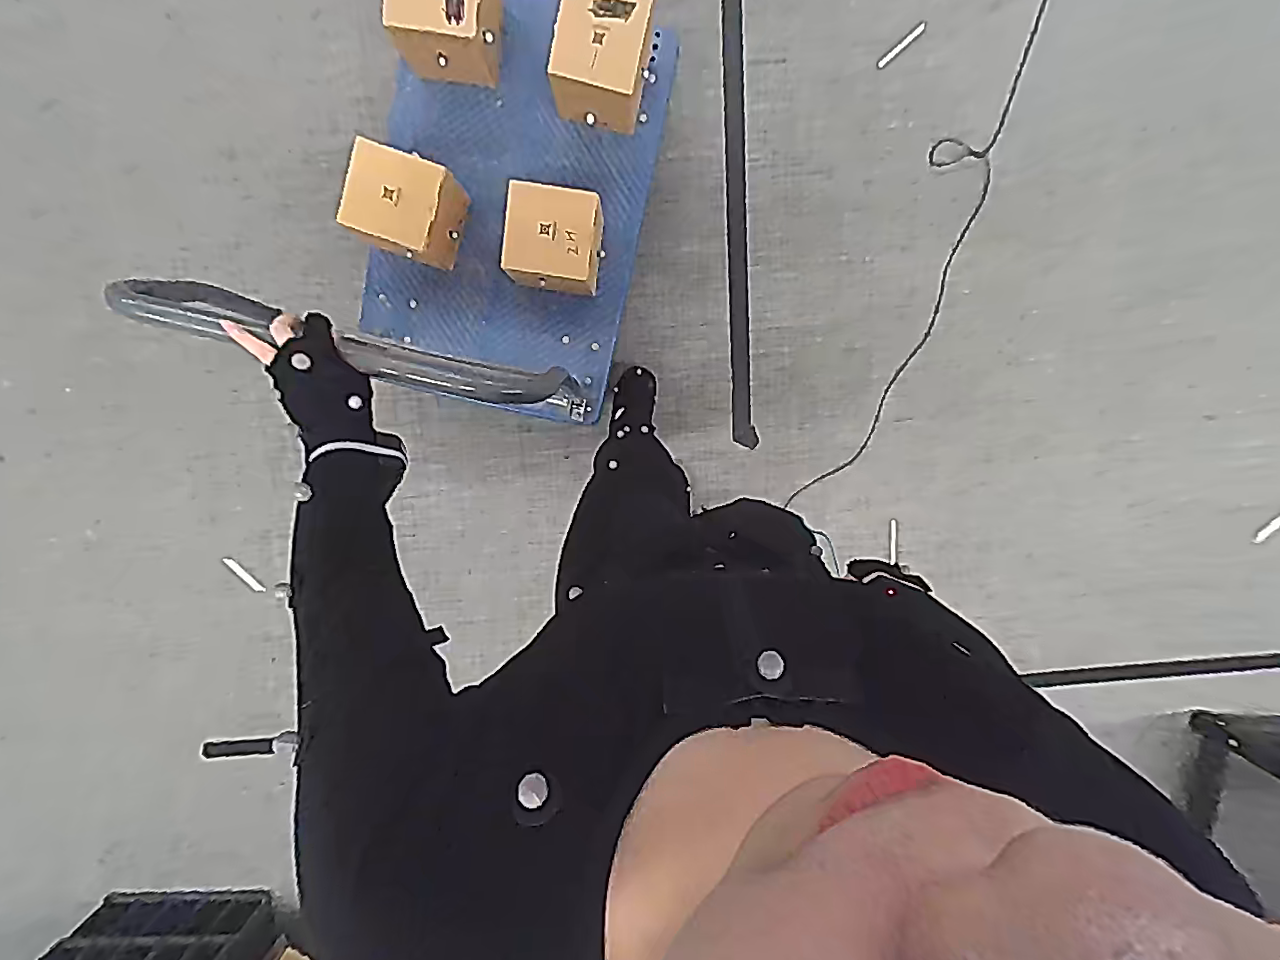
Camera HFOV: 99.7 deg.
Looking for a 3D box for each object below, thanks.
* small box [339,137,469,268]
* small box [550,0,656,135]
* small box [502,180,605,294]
[{"bbox_3d":[-0.476,-0.557,1.114,0.179,0.176,0.168,17,97,-5],"label":"small box"},{"bbox_3d":[-0.072,-0.835,1.076,0.168,0.176,0.179,14,99,-2],"label":"small box"},{"bbox_3d":[-0.174,-0.495,1.127,0.179,0.176,0.168,8,99,-2],"label":"small box"}]
